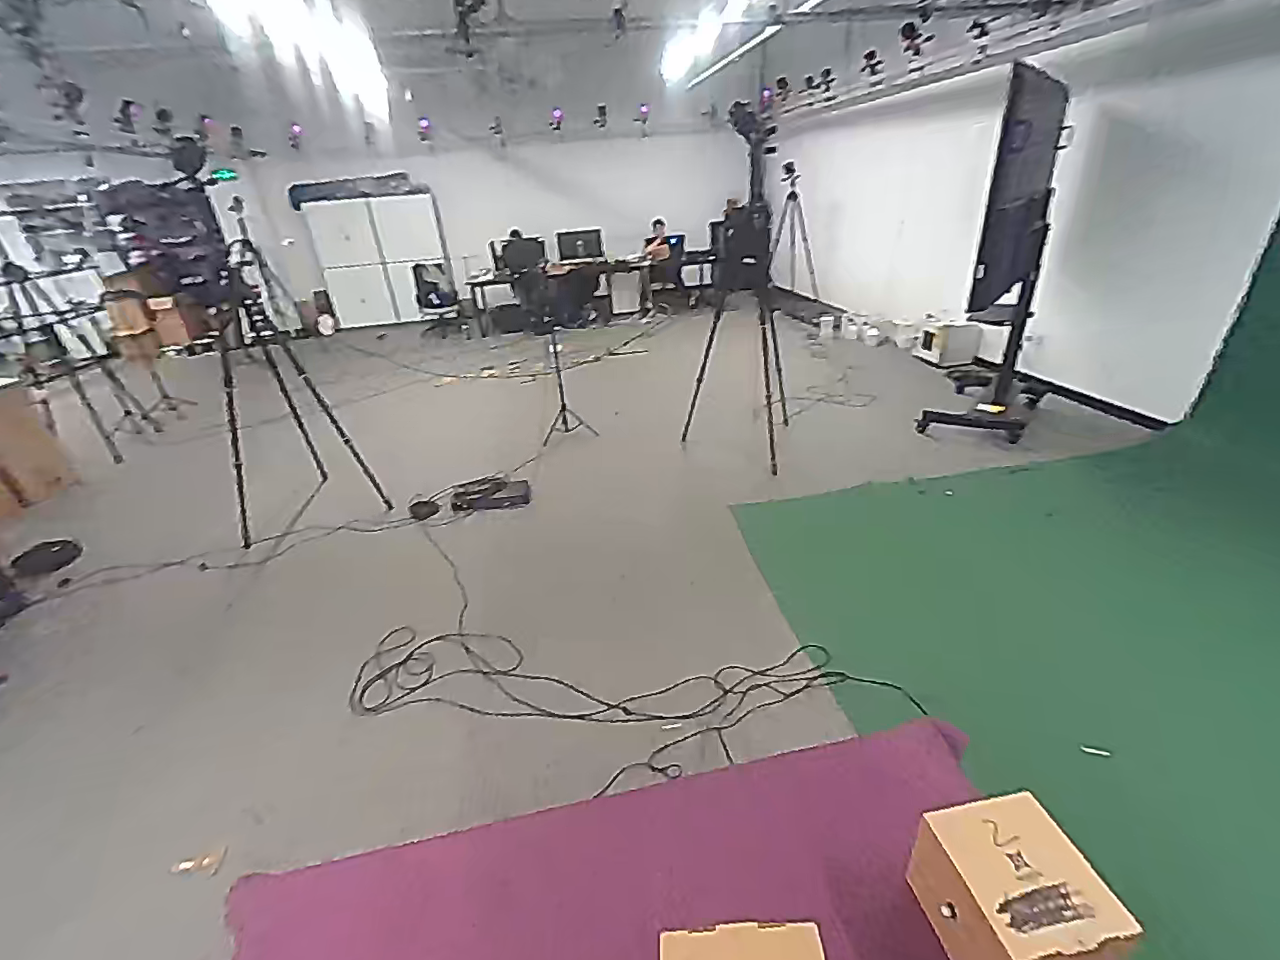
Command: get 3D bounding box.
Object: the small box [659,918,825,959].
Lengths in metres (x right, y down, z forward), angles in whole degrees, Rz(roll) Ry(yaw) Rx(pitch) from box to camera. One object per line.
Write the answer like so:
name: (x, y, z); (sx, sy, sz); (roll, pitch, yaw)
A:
small box: (0.107, 0.570, 0.523); (0.168, 0.176, 0.179); (-7, 27, 5)
